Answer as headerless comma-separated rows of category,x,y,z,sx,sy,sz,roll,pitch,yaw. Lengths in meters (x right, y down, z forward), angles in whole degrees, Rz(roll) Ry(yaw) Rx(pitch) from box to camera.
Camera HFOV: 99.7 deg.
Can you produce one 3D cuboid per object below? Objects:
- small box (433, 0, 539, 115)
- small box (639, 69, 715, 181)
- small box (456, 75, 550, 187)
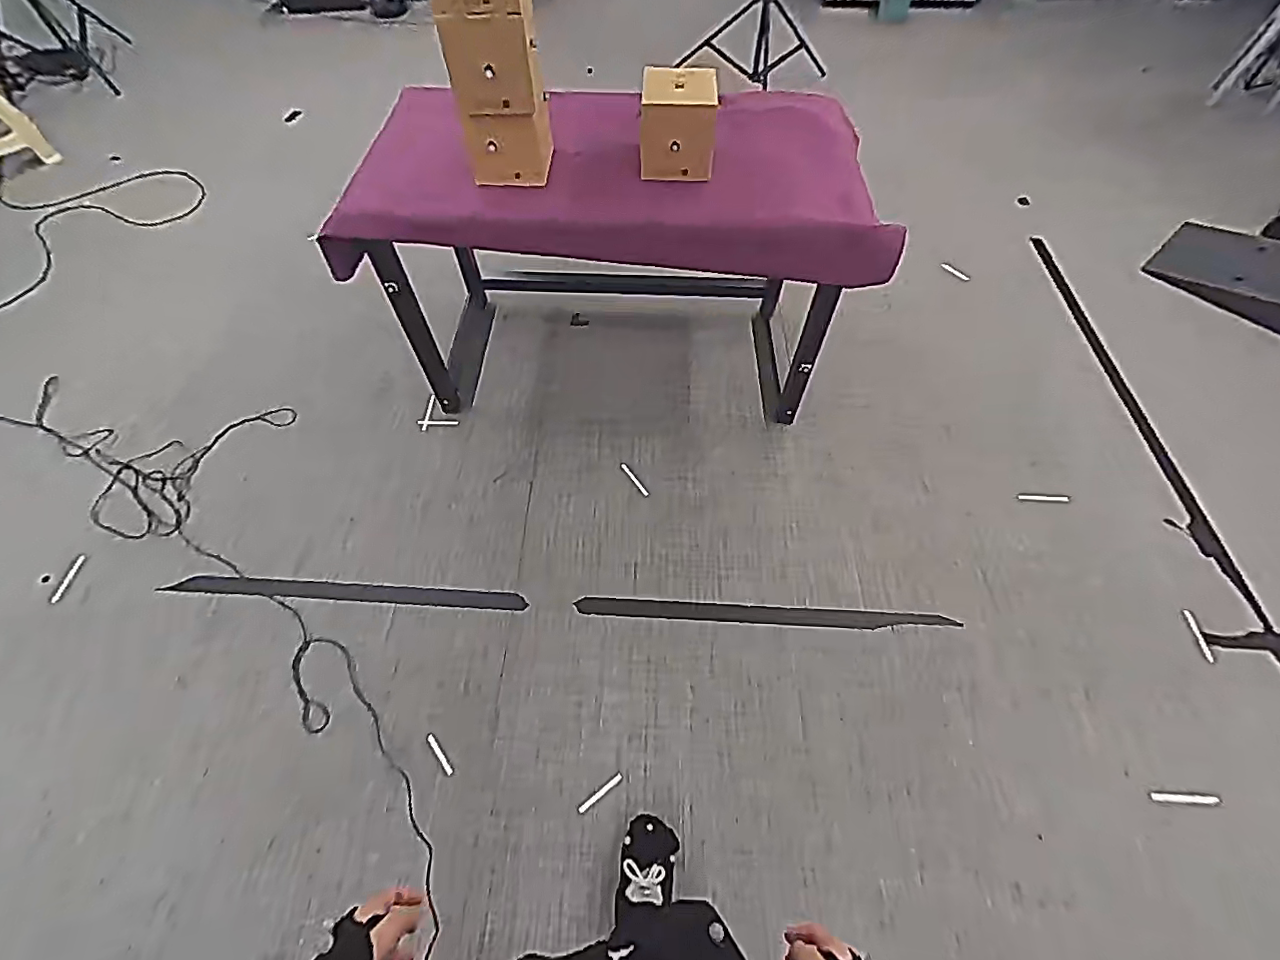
small box,-0.303,-0.871,1.101,0.168,0.176,0.179,-3,59,-2
small box,0.083,-0.826,1.263,0.168,0.176,0.179,2,58,1
small box,-0.306,-0.803,1.252,0.168,0.176,0.179,1,58,1
